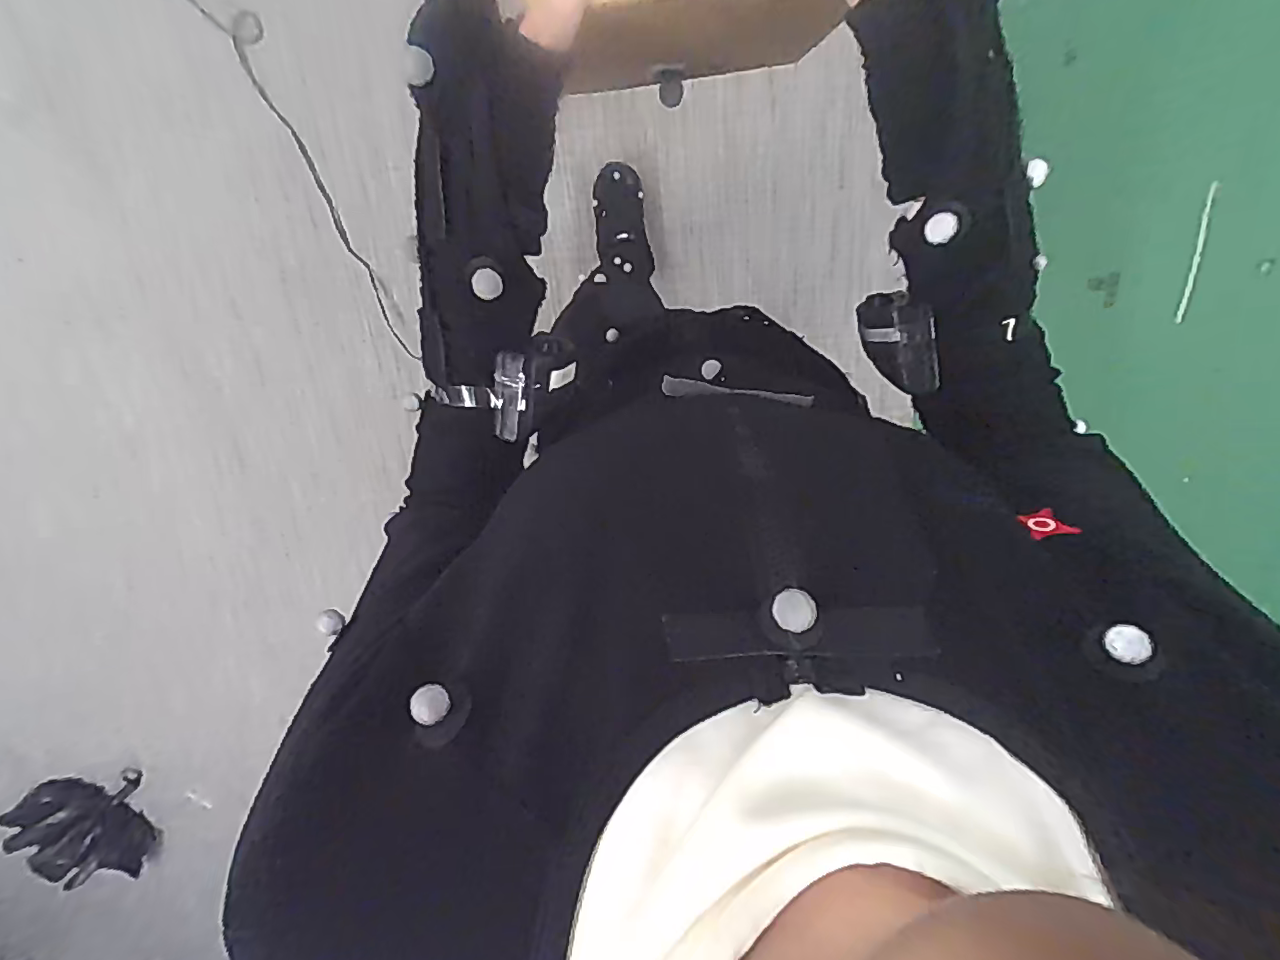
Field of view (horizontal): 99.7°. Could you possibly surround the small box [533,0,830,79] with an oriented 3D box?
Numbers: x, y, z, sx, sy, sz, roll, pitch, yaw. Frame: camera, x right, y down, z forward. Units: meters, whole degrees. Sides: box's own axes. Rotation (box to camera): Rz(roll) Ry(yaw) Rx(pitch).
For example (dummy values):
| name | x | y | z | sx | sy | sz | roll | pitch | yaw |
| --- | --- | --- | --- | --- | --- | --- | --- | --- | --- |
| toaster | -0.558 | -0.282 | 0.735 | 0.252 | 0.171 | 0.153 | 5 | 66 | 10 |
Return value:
| name | x | y | z | sx | sy | sz | roll | pitch | yaw |
| --- | --- | --- | --- | --- | --- | --- | --- | --- | --- |
| small box | 0.015 | -0.327 | 0.259 | 0.168 | 0.176 | 0.179 | -7 | 116 | 2 |
